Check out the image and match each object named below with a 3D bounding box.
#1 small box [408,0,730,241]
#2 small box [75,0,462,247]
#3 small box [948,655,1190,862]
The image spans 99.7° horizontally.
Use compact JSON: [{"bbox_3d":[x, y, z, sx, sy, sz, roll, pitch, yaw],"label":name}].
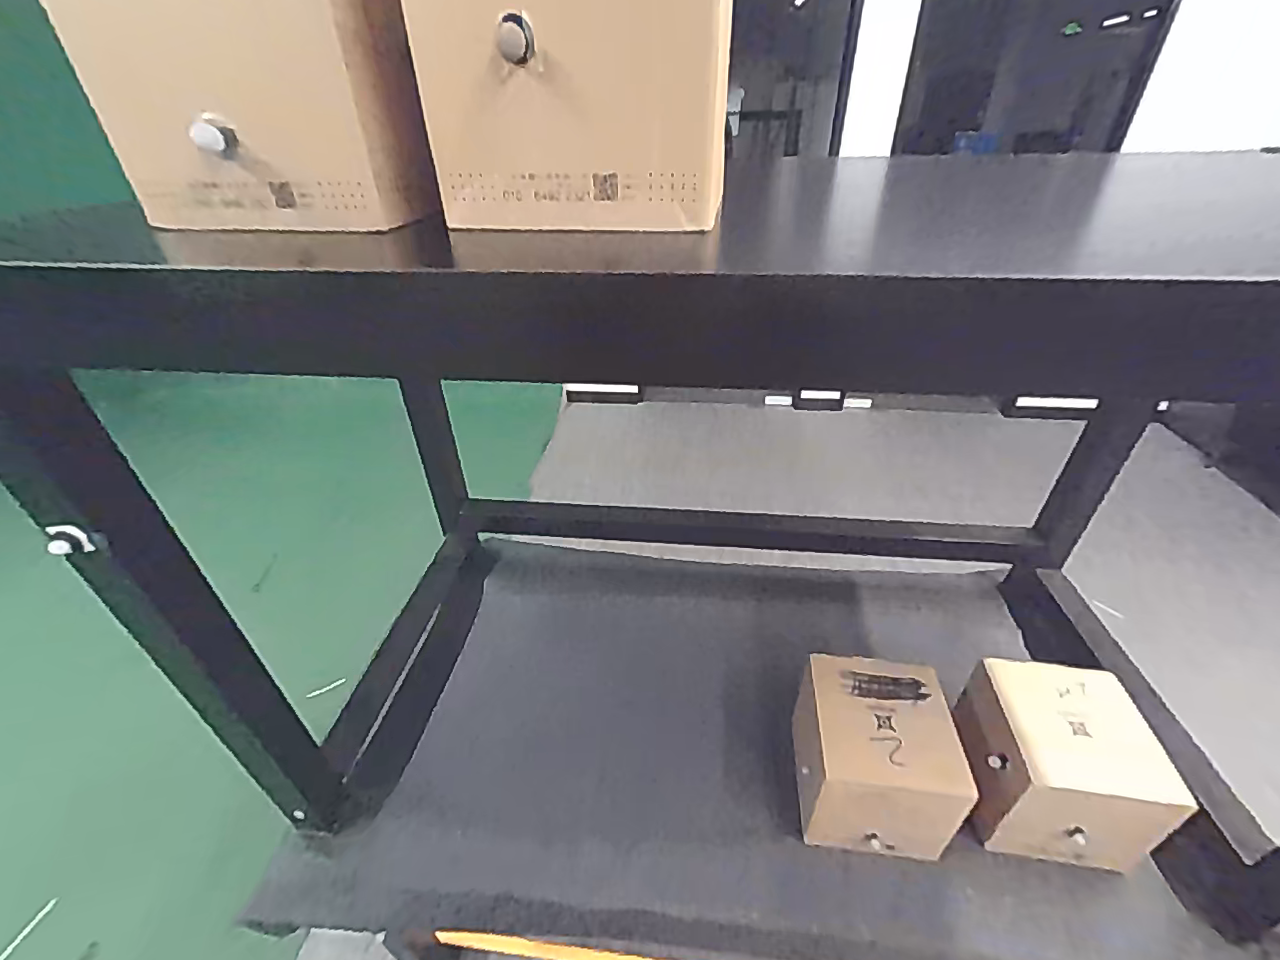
[{"bbox_3d":[-0.027,-0.260,0.353,0.168,0.176,0.179,4,35,8],"label":"small box"},{"bbox_3d":[-0.223,-0.270,0.370,0.168,0.176,0.179,4,36,7],"label":"small box"},{"bbox_3d":[0.534,0.362,0.709,0.168,0.176,0.179,5,34,9],"label":"small box"}]
